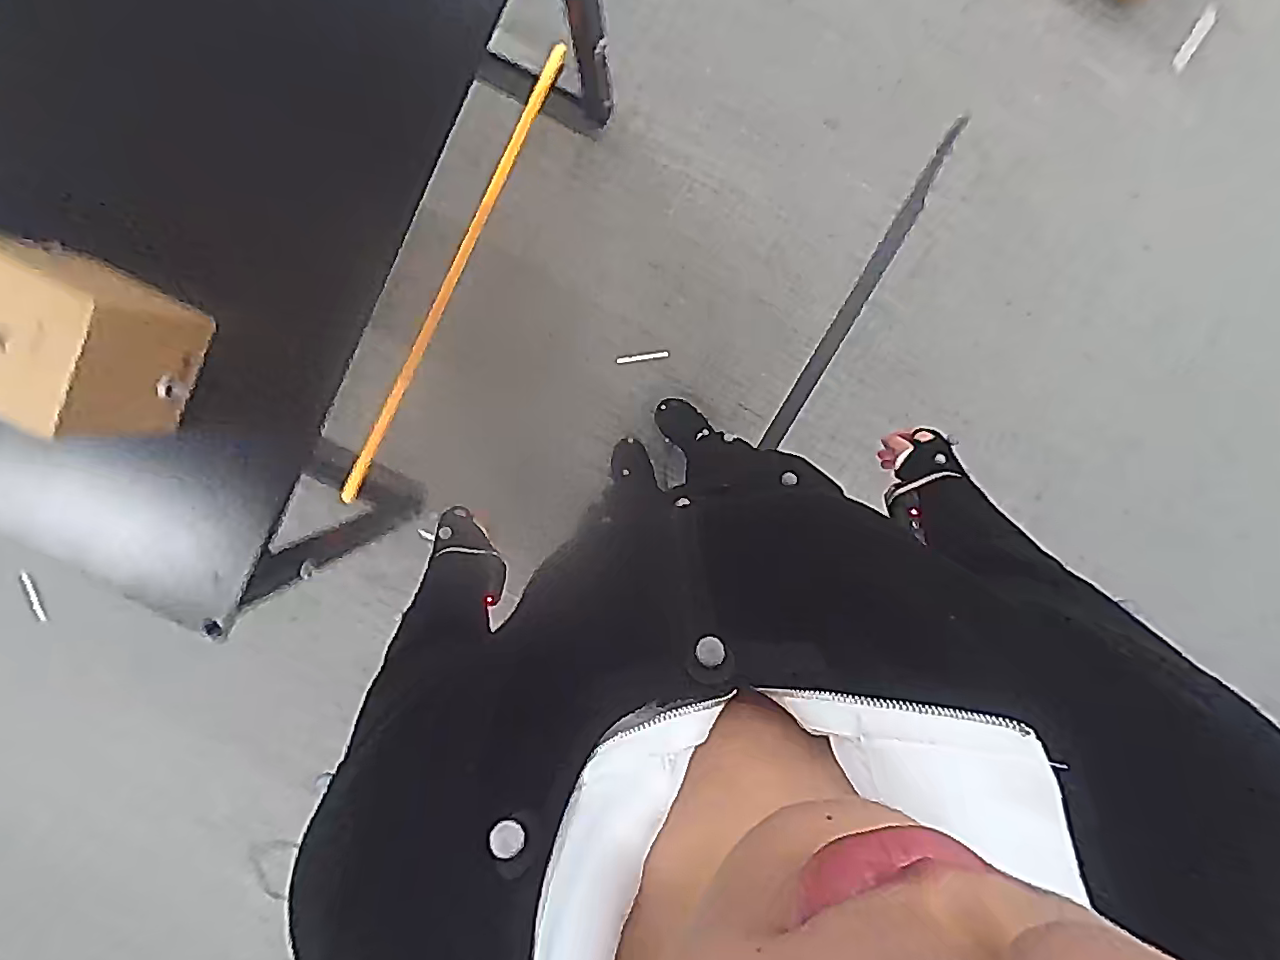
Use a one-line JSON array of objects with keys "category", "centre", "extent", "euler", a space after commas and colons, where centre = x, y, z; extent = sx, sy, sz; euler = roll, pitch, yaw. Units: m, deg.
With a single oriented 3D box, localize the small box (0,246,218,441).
[{"category": "small box", "centre": [-0.678, -0.160, 0.655], "extent": [0.179, 0.176, 0.168], "euler": [25, 99, -4]}]
